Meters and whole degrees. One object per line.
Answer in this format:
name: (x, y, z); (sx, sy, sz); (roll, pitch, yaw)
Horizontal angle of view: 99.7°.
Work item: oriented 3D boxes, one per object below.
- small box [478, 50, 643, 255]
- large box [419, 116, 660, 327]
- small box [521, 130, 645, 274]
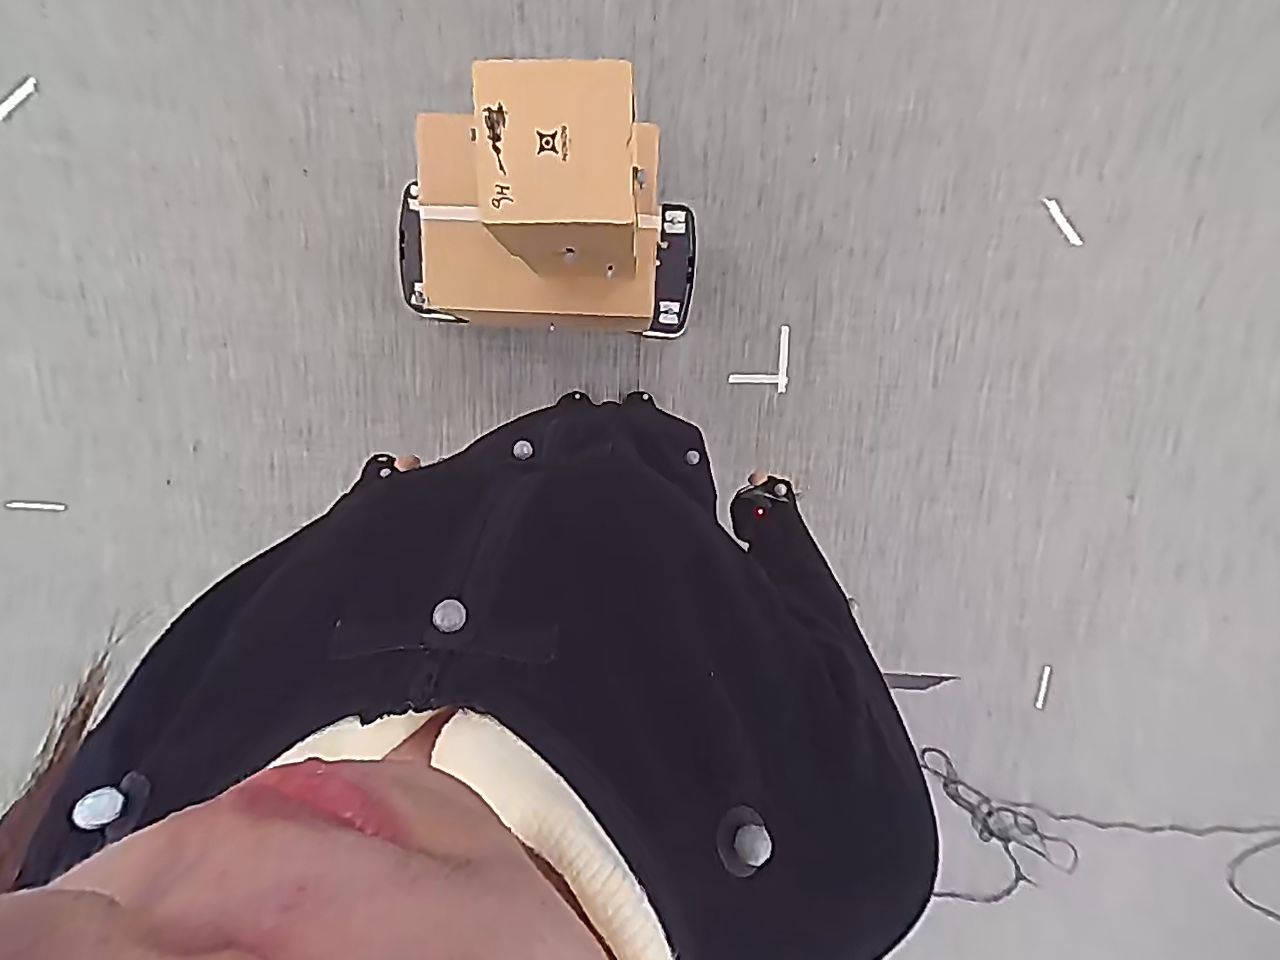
small box: (-0.088, -0.382, 0.662); (0.179, 0.176, 0.168); (0, 99, -2)
large box: (-0.167, -0.472, 1.060); (0.408, 0.320, 0.320); (2, 100, 0)
small box: (-0.084, -0.416, 0.823); (0.179, 0.176, 0.168); (1, 101, -1)
